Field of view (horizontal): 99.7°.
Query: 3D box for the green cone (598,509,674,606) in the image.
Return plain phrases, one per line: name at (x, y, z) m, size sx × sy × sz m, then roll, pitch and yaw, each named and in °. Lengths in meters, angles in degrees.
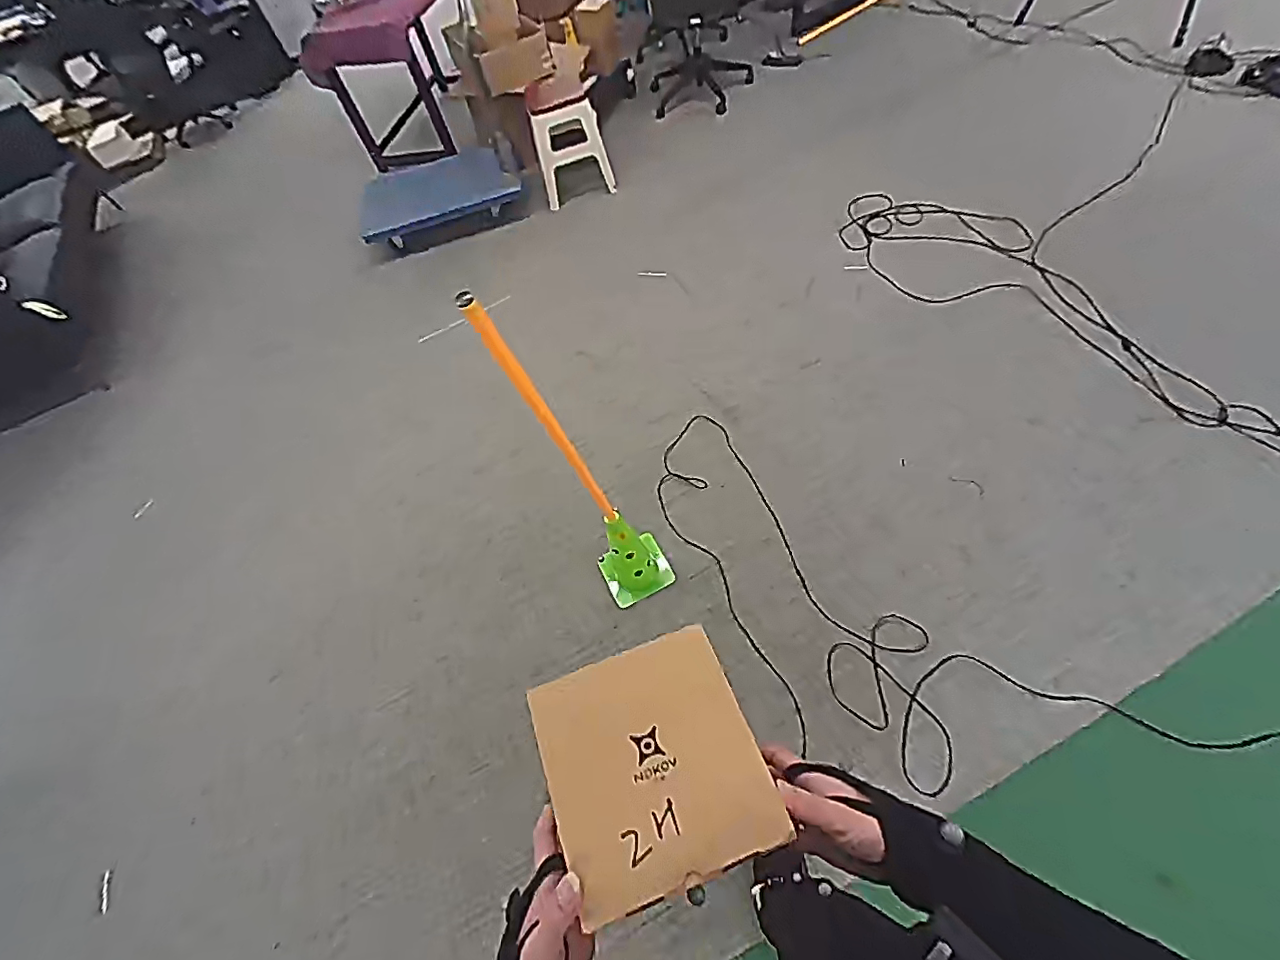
green cone at (-0.041, 0.193, 1.584) m, size 0.202 × 0.368 × 0.200 m, roll -26°, pitch 57°, yaw -7°
